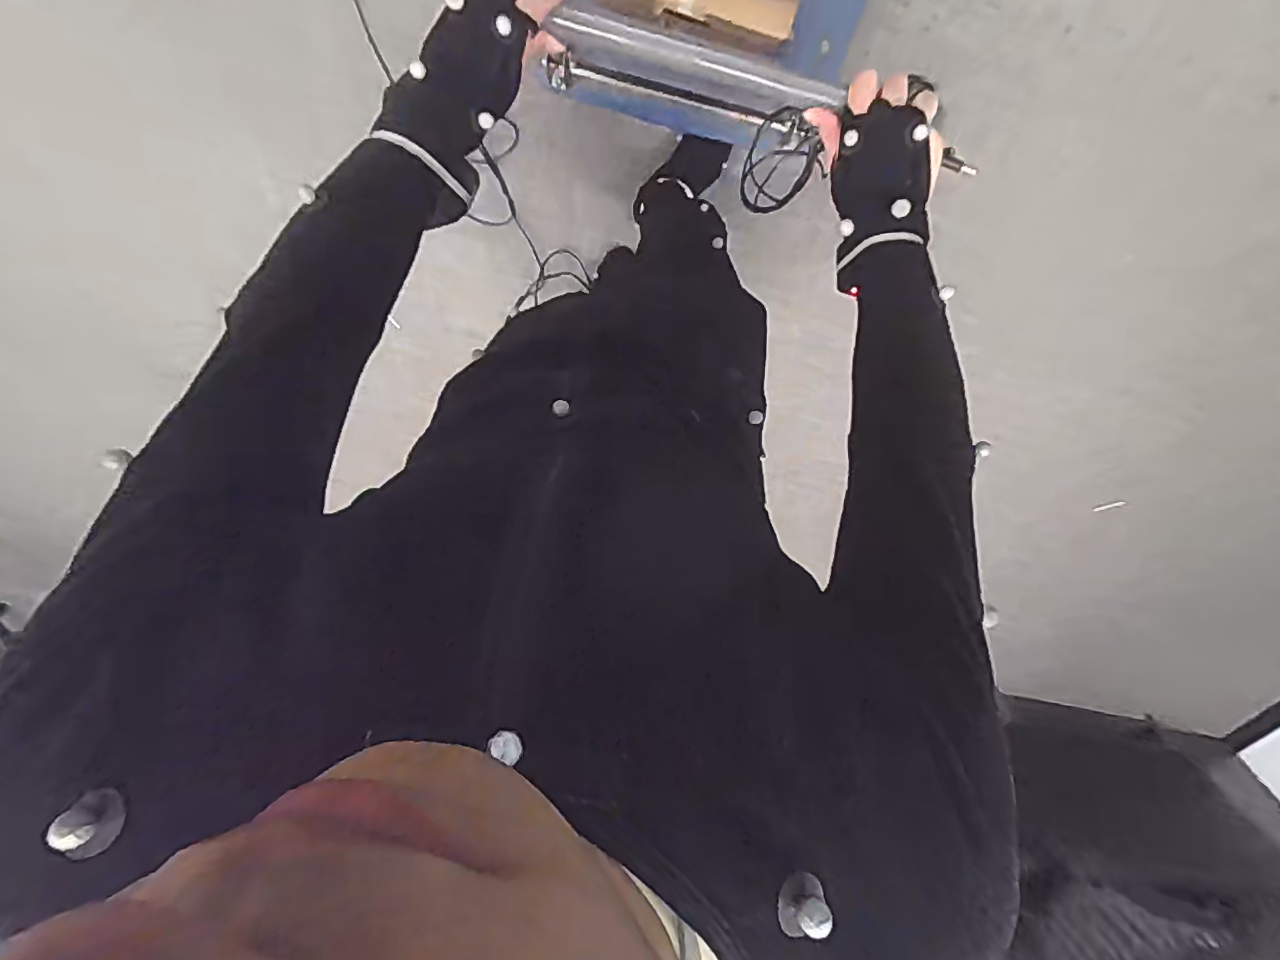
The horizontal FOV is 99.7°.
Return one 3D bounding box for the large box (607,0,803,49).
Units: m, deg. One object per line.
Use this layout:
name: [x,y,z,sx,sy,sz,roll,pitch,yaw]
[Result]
large box: [0.122,-0.912,0.764,0.320,0.320,0.408,13,124,-8]
